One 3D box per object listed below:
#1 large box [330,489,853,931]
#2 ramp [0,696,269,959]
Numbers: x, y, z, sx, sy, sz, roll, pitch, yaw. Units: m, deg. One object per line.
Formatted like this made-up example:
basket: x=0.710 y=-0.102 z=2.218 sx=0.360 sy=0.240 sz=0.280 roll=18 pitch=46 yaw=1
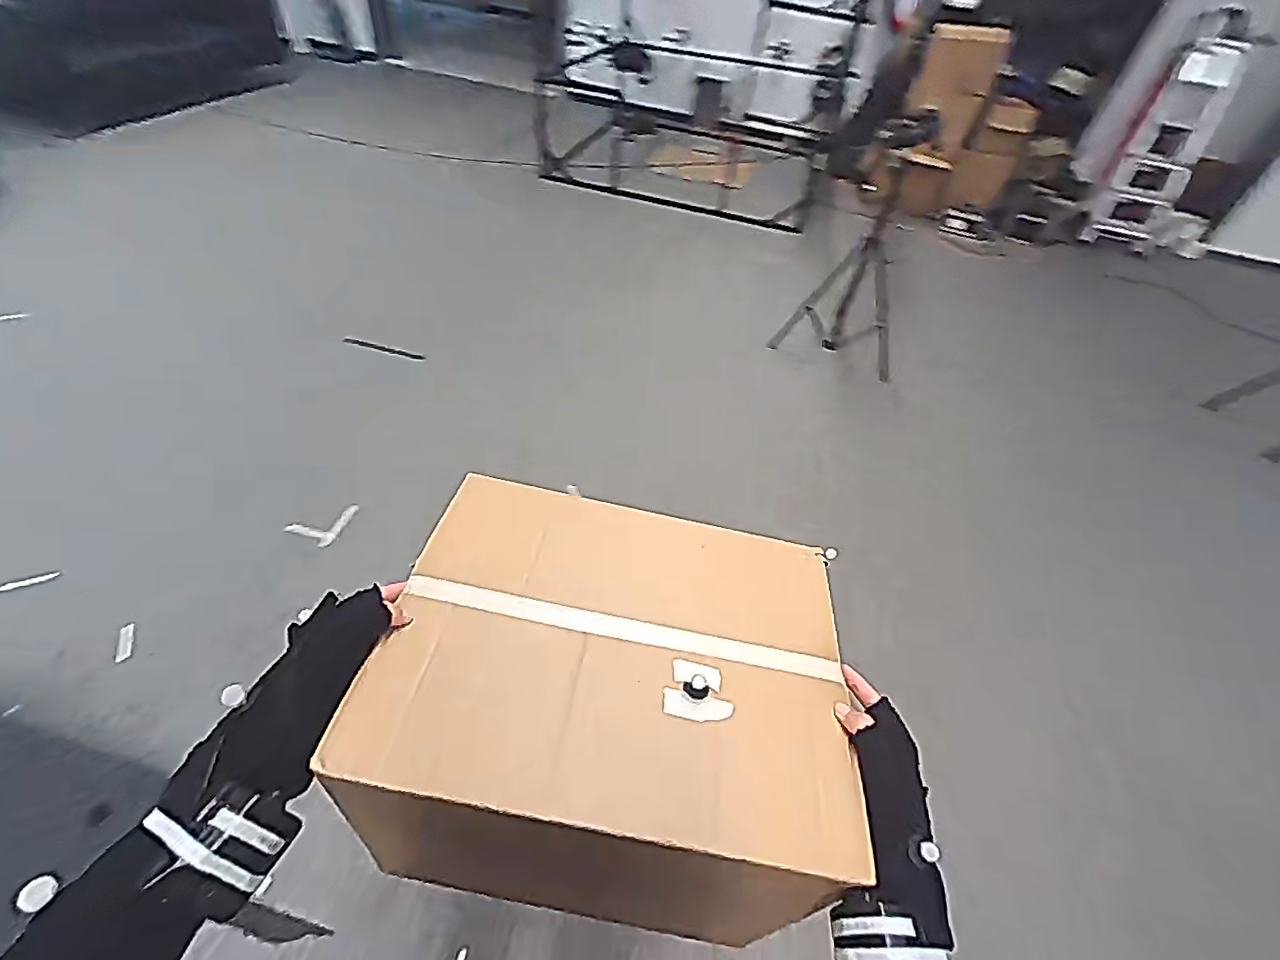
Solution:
large box: x=-0.044 y=0.254 z=0.605 sx=0.408 sy=0.320 sz=0.320 roll=12 pitch=42 yaw=-2
ramp: x=-1.365 y=0.723 z=1.072 sx=0.991 sy=0.206 sz=0.509 roll=14 pitch=45 yaw=5
